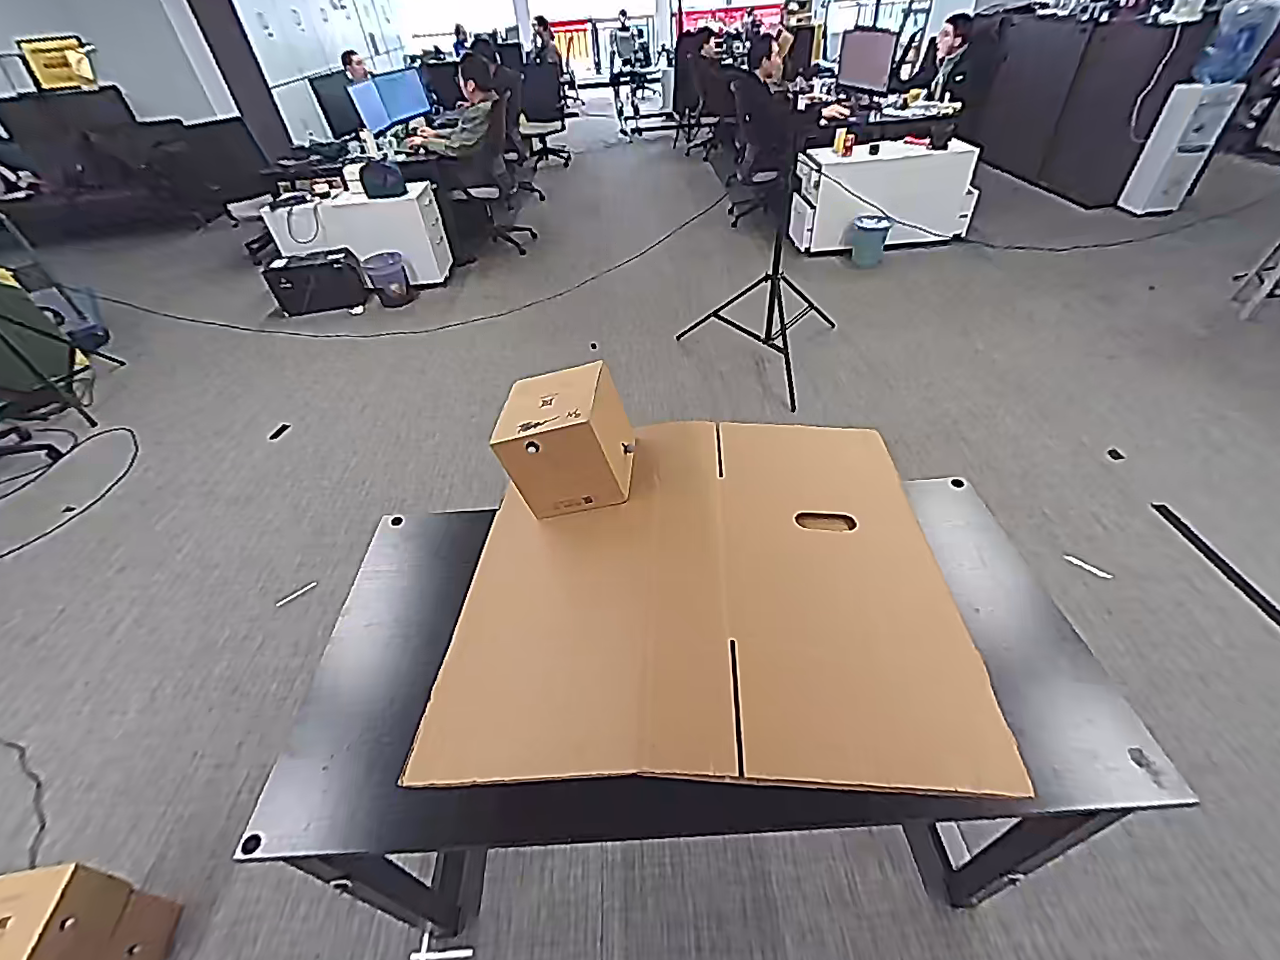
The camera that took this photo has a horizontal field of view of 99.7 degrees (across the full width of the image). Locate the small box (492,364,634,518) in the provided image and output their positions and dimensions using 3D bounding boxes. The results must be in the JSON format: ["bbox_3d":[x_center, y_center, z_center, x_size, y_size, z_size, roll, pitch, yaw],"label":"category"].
[{"bbox_3d":[-0.115,-0.062,0.899,0.168,0.176,0.179,-12,39,15],"label":"small box"}]

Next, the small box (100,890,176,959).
[{"bbox_3d":[-1.141,1.000,1.139,0.168,0.176,0.179,-7,43,-2],"label":"small box"}]

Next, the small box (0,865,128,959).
[{"bbox_3d":[-1.153,0.876,1.034,0.168,0.176,0.179,-8,41,-5],"label":"small box"}]
